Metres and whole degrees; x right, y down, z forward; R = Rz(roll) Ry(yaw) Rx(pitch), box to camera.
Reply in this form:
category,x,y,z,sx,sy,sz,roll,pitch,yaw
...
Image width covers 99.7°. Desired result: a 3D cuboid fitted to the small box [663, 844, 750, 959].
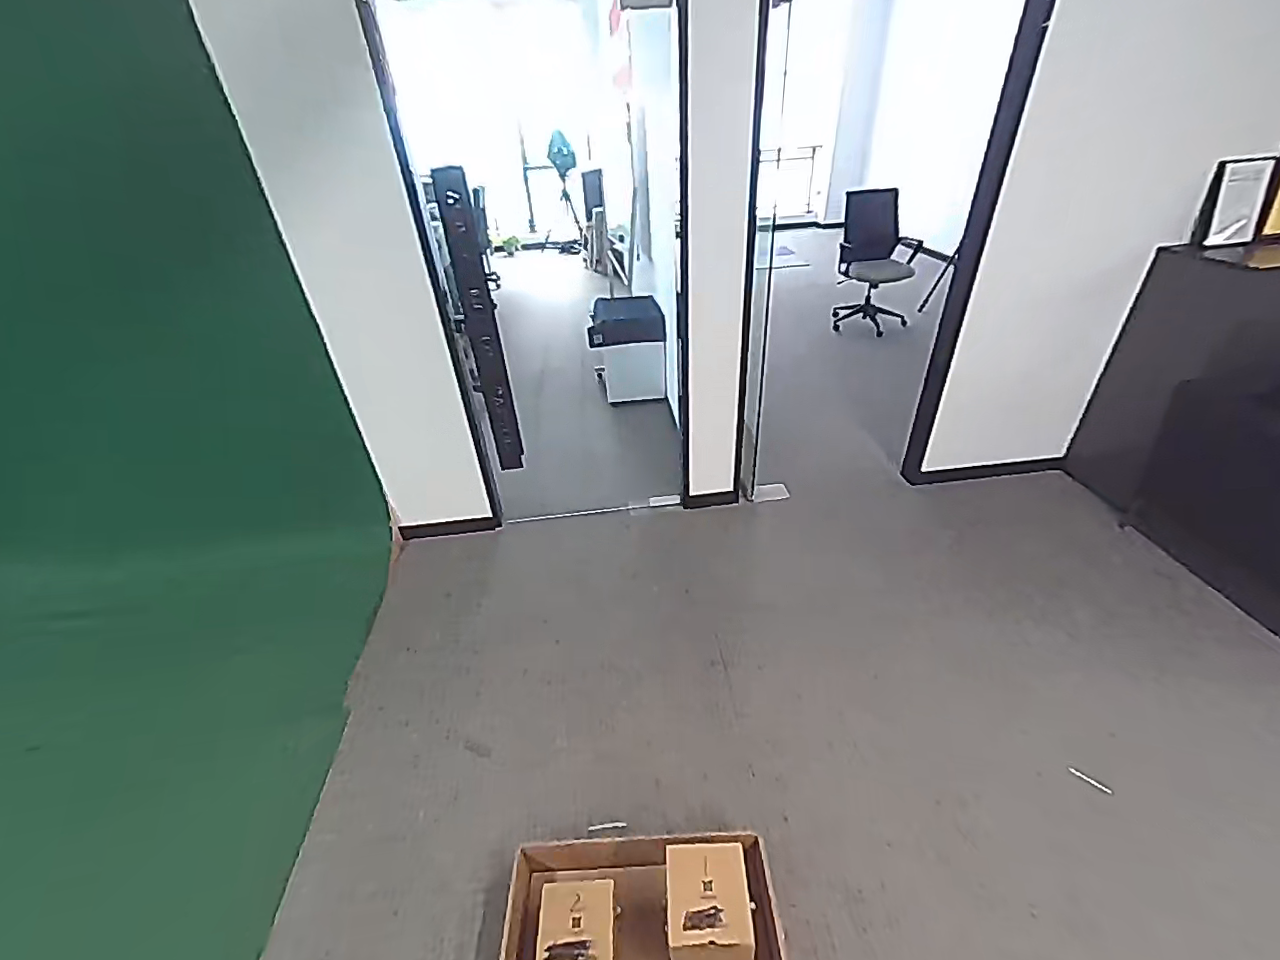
category,x,y,z,sx,sy,sz,roll,pitch,yaw
small box,0.135,0.893,1.126,0.168,0.176,0.179,-3,32,3
